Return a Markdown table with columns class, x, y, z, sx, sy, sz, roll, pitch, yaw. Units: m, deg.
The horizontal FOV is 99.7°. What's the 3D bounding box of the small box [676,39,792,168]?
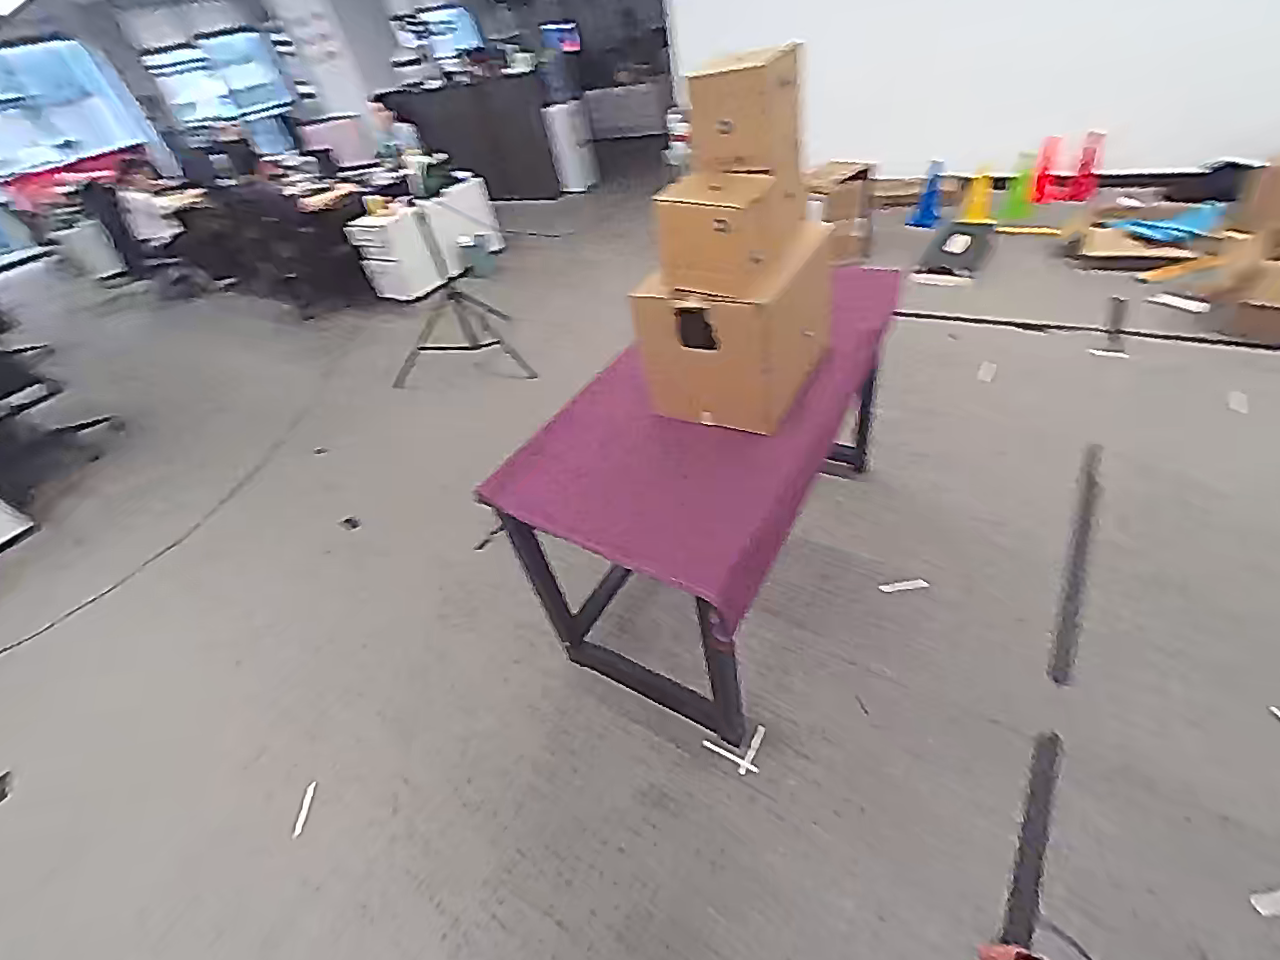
| class | x | y | z | sx | sy | sz | roll | pitch | yaw |
| --- | --- | --- | --- | --- | --- | --- | --- | --- | --- |
| small box | 0.194 | -0.727 | 1.059 | 0.168 | 0.176 | 0.179 | 16 | 51 | 30 |
